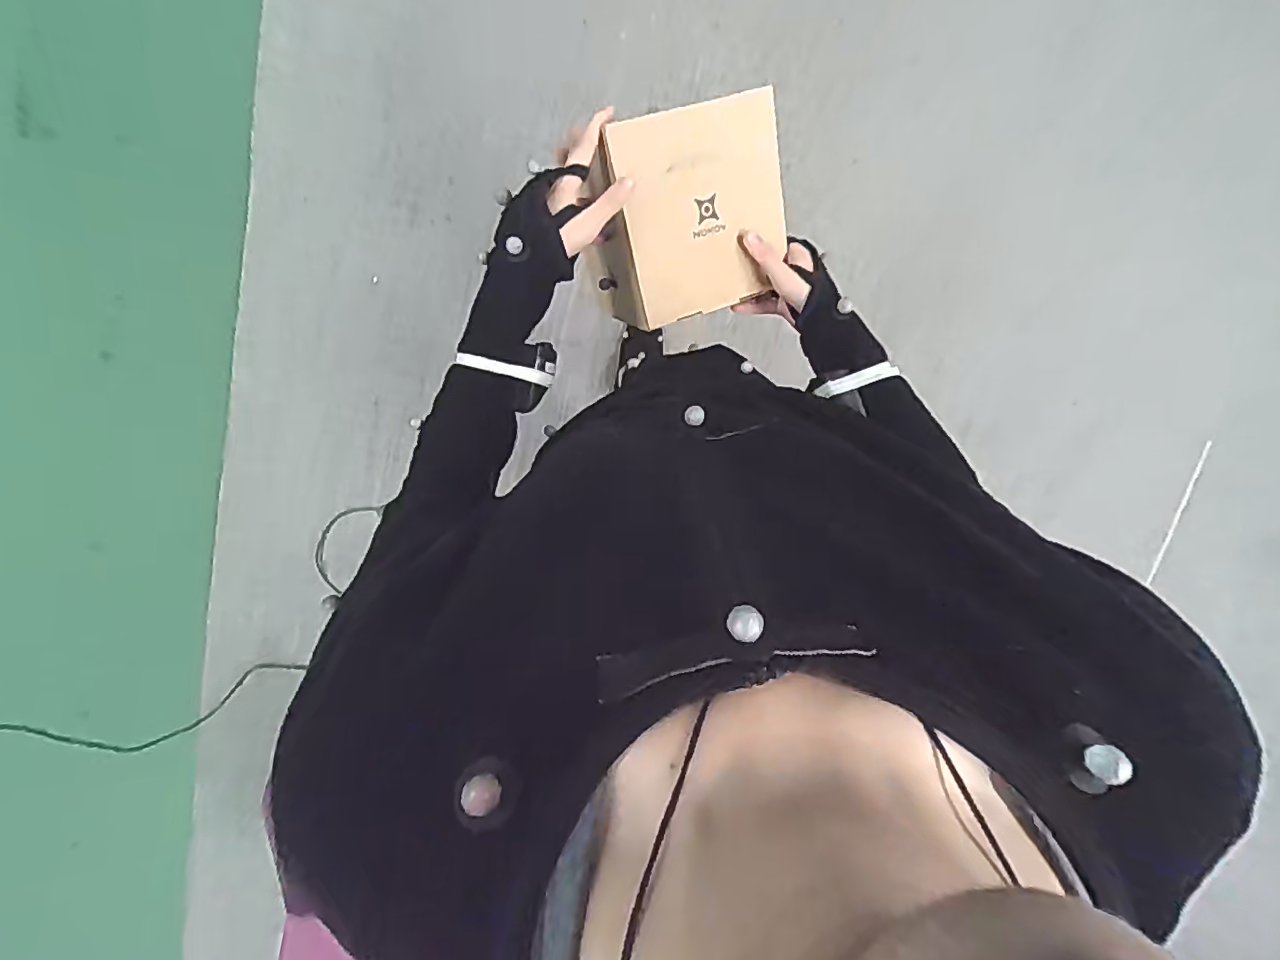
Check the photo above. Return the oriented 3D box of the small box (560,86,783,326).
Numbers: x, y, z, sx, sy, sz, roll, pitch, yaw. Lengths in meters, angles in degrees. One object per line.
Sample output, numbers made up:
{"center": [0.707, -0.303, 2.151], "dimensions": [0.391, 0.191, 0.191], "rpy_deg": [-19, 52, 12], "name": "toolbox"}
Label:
{"center": [0.029, -0.280, 0.568], "dimensions": [0.168, 0.176, 0.179], "rpy_deg": [-20, 118, -13], "name": "small box"}
